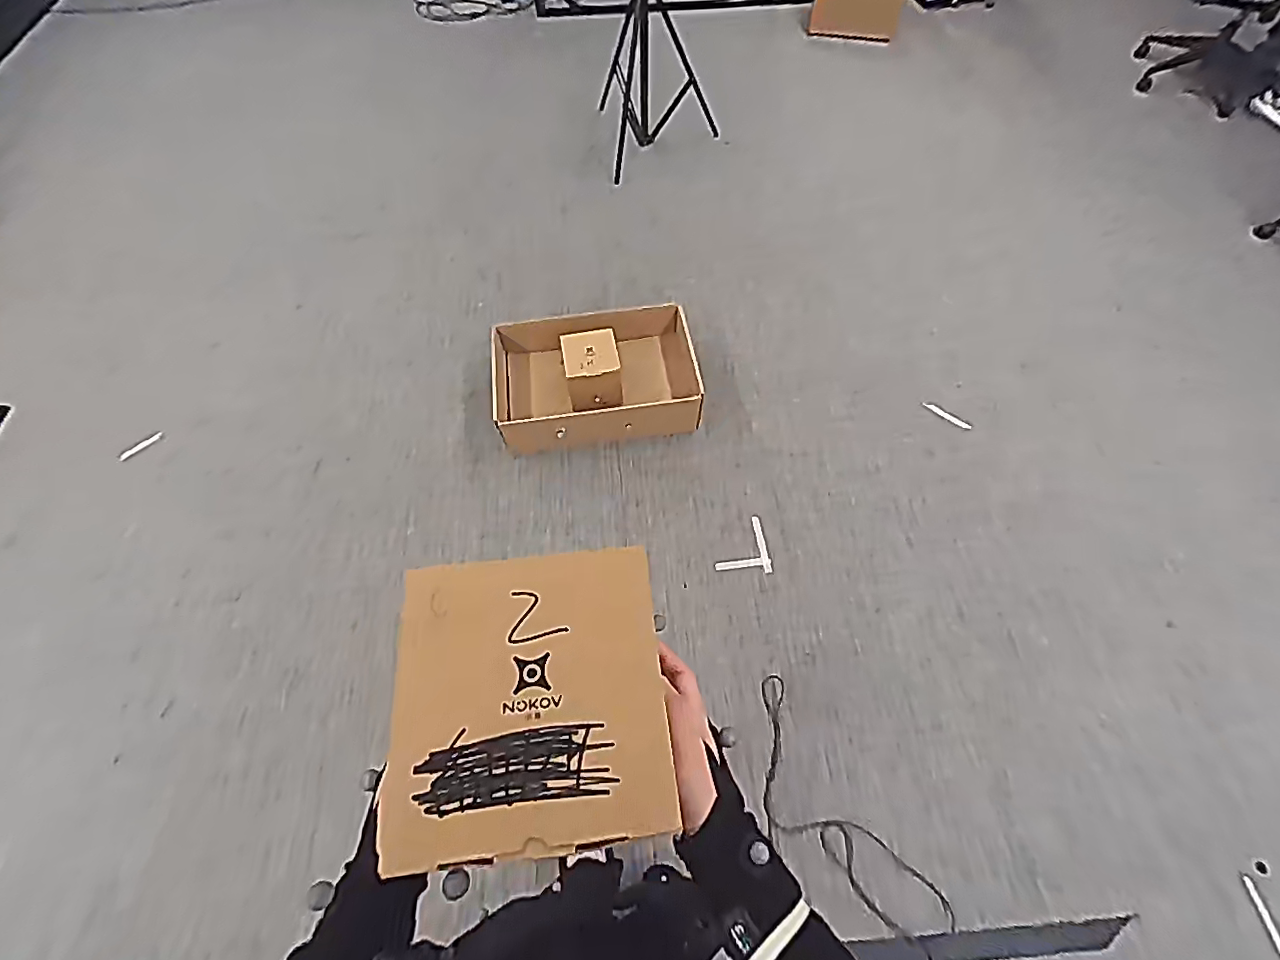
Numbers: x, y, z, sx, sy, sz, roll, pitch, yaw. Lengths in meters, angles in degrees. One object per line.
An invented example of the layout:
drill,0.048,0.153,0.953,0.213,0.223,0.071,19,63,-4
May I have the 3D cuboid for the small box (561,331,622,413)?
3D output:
small box,-0.153,-0.339,1.706,0.168,0.176,0.179,-10,61,-5
